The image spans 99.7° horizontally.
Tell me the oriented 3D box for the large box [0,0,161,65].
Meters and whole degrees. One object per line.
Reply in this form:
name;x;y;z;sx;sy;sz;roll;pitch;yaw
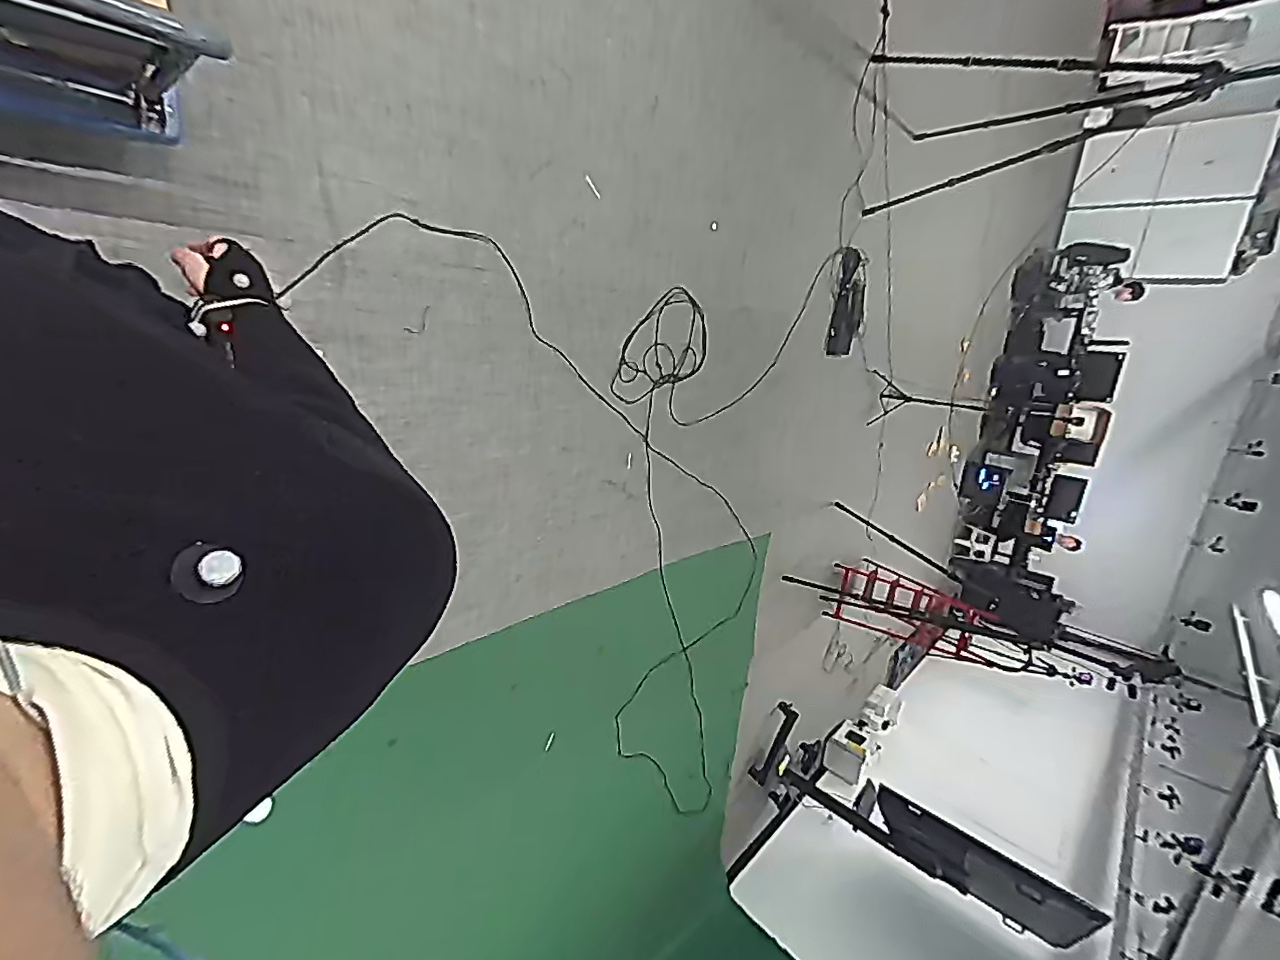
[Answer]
large box;-0.902;-0.873;0.723;0.320;0.320;0.408;-14;114;-45
